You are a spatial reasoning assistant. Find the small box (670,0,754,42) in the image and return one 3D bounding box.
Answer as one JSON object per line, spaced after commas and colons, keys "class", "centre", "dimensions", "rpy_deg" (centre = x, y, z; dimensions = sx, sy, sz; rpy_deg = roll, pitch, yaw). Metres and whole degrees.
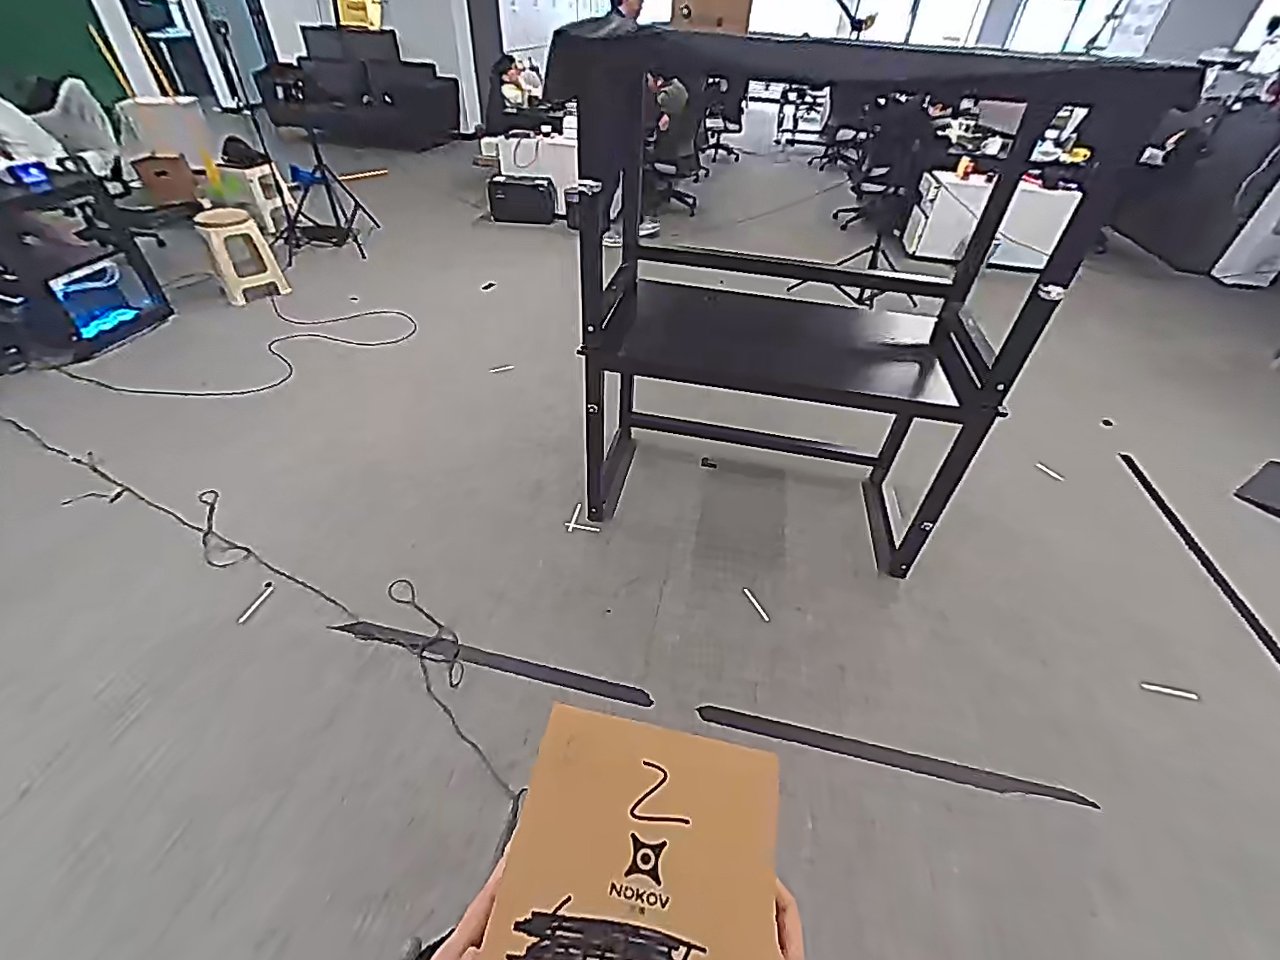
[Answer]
{"class": "small box", "centre": [0.157, -1.029, 1.130], "dimensions": [0.168, 0.176, 0.179], "rpy_deg": [9, 39, 4]}
